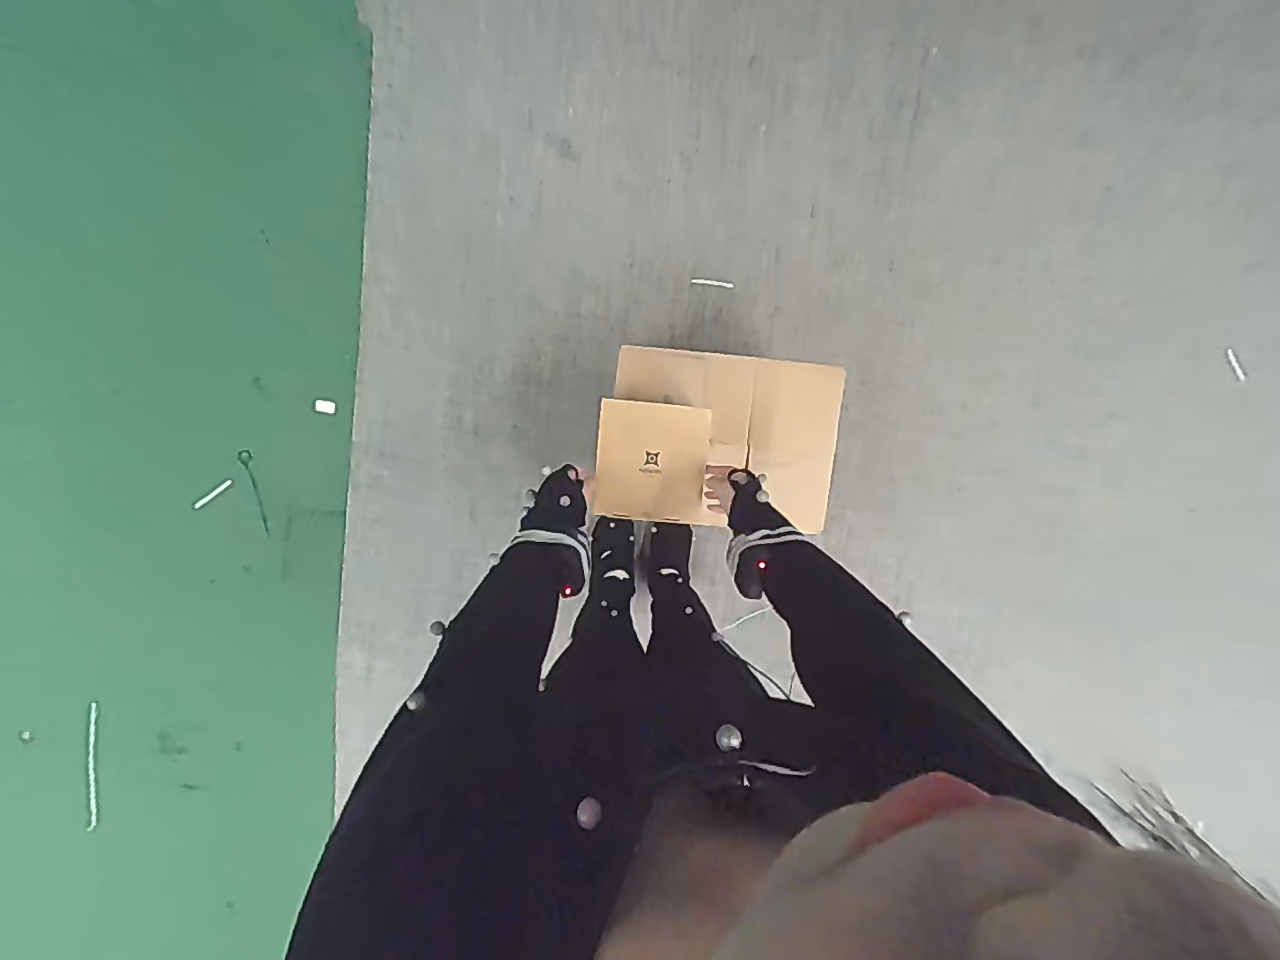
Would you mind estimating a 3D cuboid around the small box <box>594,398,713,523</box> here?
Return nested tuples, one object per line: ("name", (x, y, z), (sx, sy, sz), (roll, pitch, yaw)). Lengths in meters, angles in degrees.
("small box", (0.015, -0.039, 0.877), (0.168, 0.176, 0.179), (5, 99, -3))
